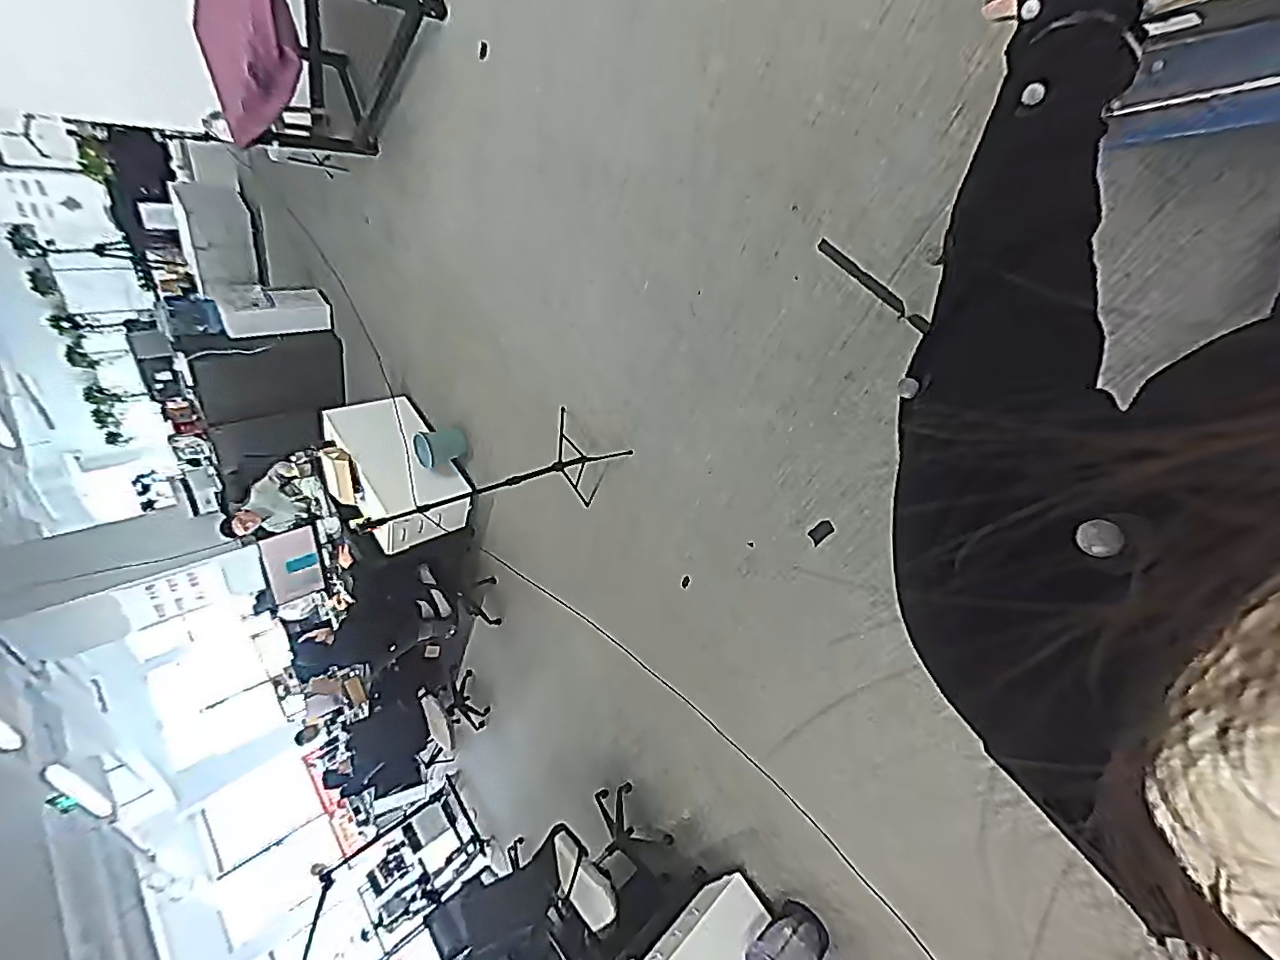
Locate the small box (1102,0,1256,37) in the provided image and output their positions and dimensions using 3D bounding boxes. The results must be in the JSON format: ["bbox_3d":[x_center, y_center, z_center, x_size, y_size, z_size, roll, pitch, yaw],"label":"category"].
[{"bbox_3d":[0.773,-0.754,0.750,0.168,0.176,0.179,12,116,44],"label":"small box"}]
